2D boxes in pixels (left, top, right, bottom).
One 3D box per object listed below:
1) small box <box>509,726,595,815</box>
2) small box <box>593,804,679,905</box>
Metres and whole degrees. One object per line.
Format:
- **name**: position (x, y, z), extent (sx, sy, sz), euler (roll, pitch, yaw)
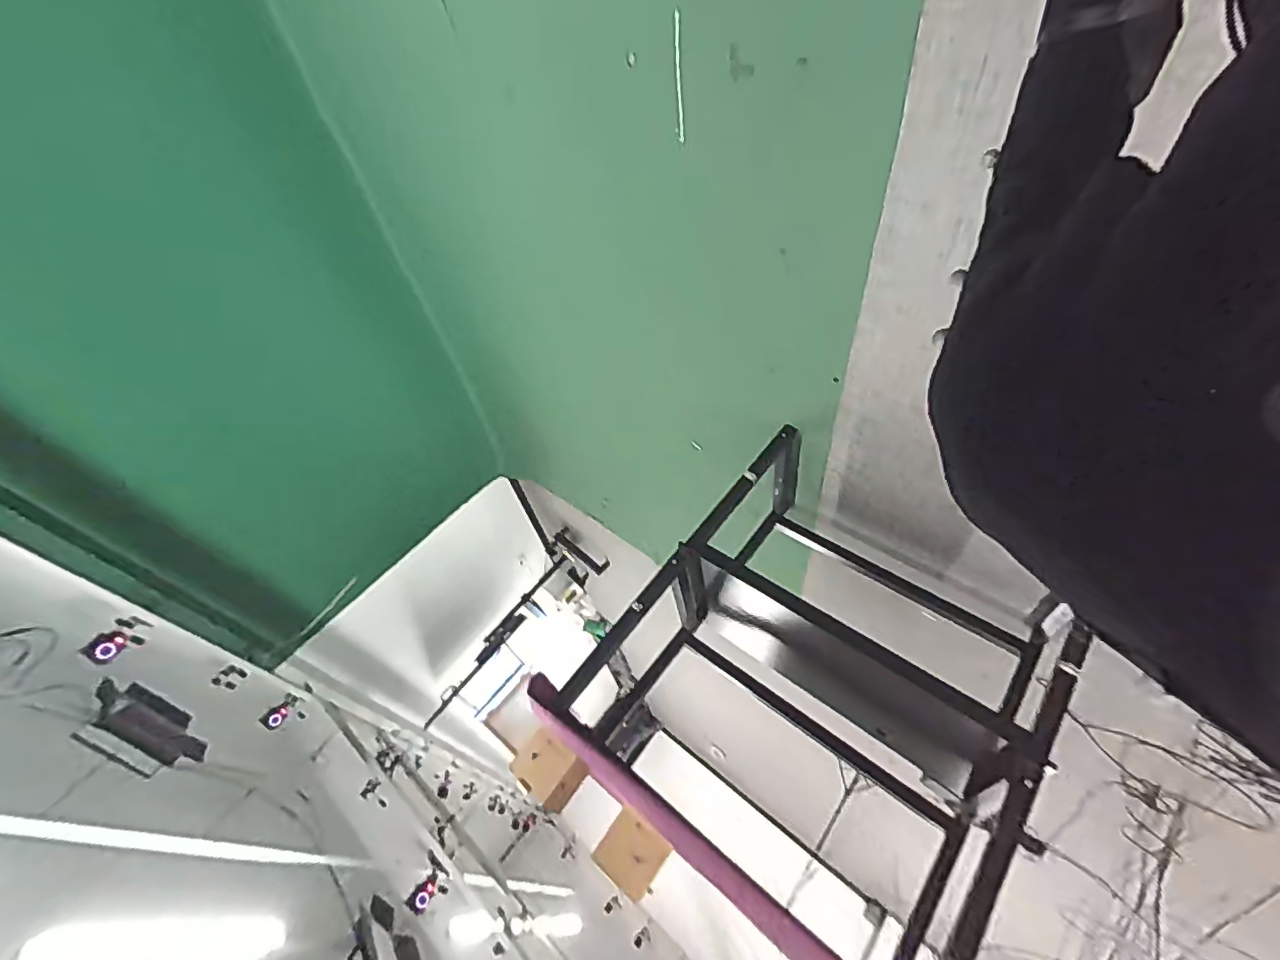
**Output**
- **small box**: position (-0.268, 0.896, 1.675), extent (0.168, 0.176, 0.179), euler (27, 154, 31)
- **small box**: position (-0.005, 1.031, 1.502), extent (0.168, 0.176, 0.179), euler (31, 155, 24)
